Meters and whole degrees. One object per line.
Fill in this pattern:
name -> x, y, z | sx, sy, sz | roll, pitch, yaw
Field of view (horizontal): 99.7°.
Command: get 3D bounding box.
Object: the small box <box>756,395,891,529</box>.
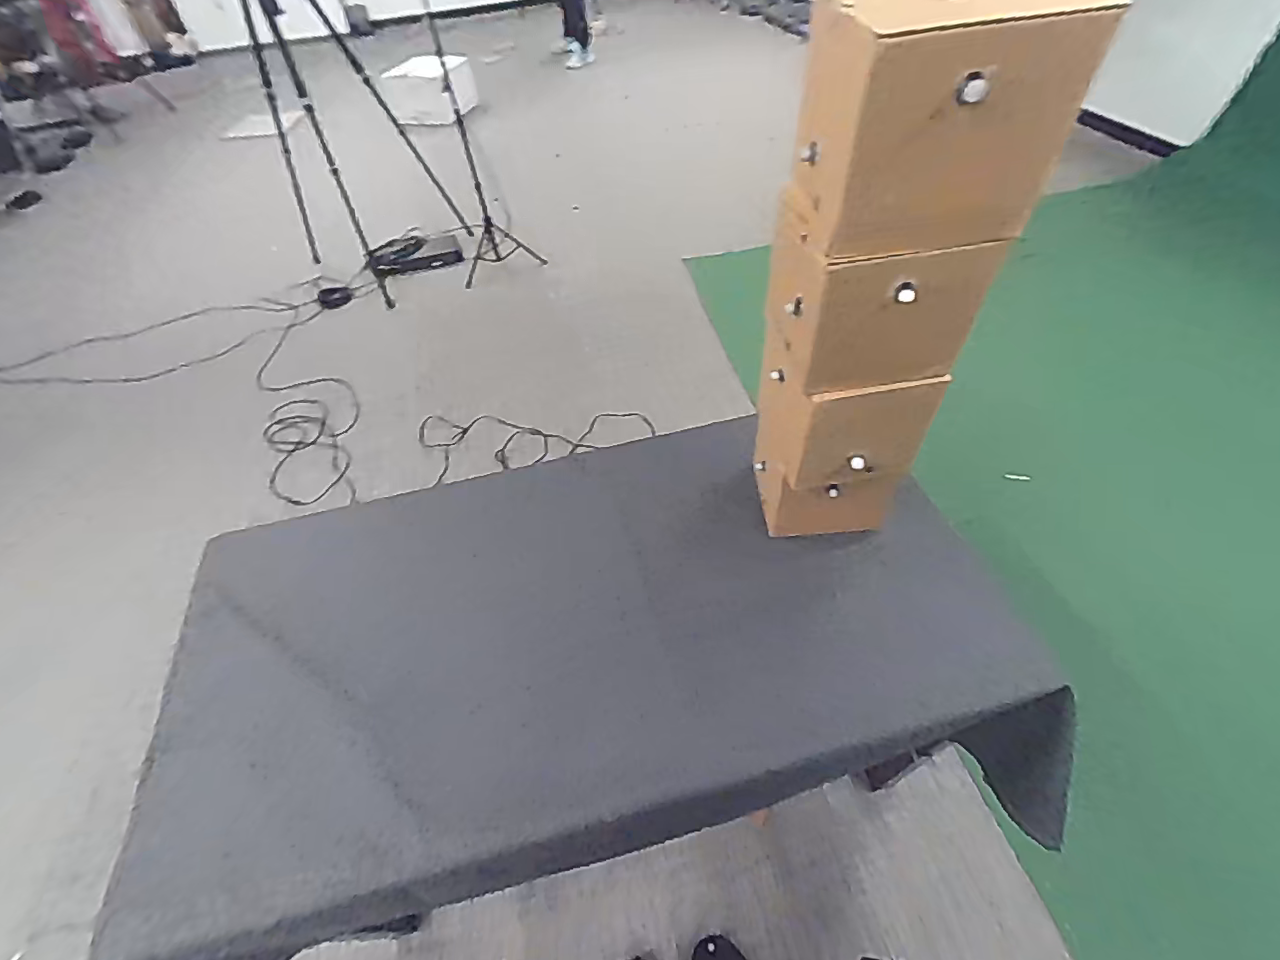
small box -> 0.286, -0.034, 0.866 | 0.179, 0.176, 0.168 | -4, 51, 2

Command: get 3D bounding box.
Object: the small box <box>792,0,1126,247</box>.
small box -> 0.247, -0.329, 0.479 | 0.179, 0.176, 0.168 | -6, 52, 2

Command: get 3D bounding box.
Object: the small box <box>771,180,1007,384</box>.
small box -> 0.250, -0.224, 0.603 | 0.179, 0.176, 0.168 | -7, 52, 0

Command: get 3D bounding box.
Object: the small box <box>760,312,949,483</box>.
small box -> 0.268, -0.121, 0.728 | 0.168, 0.176, 0.179 | -10, 52, -1
